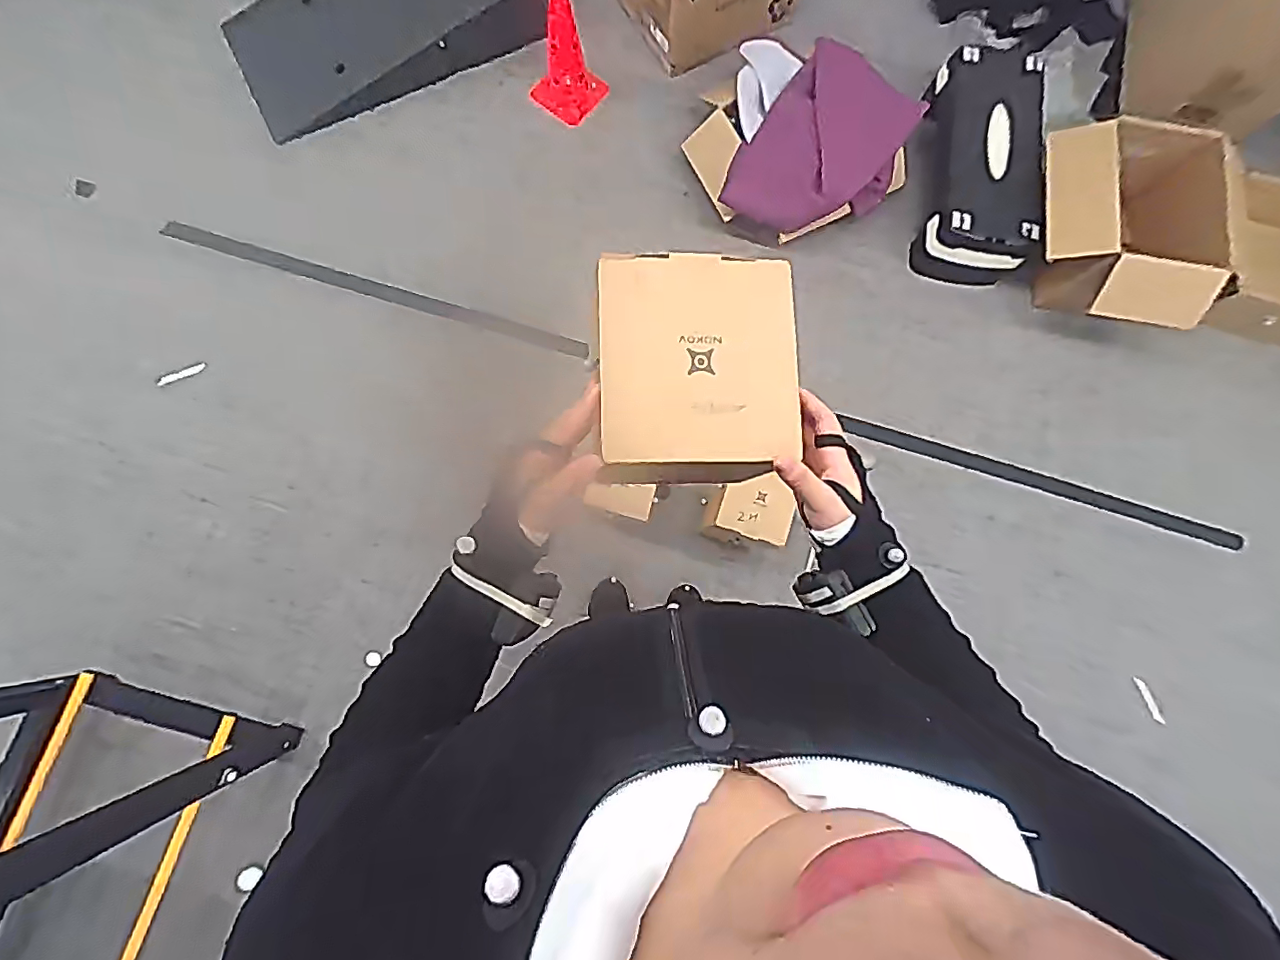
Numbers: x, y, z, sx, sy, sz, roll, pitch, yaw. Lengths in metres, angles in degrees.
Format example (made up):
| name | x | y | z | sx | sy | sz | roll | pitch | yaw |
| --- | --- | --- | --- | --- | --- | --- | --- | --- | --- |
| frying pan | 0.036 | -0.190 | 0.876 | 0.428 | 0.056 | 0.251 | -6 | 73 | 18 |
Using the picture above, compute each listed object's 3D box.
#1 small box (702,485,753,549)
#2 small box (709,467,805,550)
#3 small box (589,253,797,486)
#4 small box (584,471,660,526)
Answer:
| name | x | y | z | sx | sy | sz | roll | pitch | yaw |
| --- | --- | --- | --- | --- | --- | --- | --- | --- | --- |
| small box | 0.274 | 0.083 | 1.473 | 0.168 | 0.176 | 0.179 | 17 | 81 | 1 |
| small box | 0.274 | 0.060 | 1.308 | 0.168 | 0.176 | 0.179 | 18 | 81 | 2 |
| small box | 0.036 | -0.091 | 0.520 | 0.168 | 0.176 | 0.179 | -1 | 84 | -7 |
| small box | -0.041 | 0.024 | 1.470 | 0.179 | 0.176 | 0.168 | 15 | 80 | 1 |
